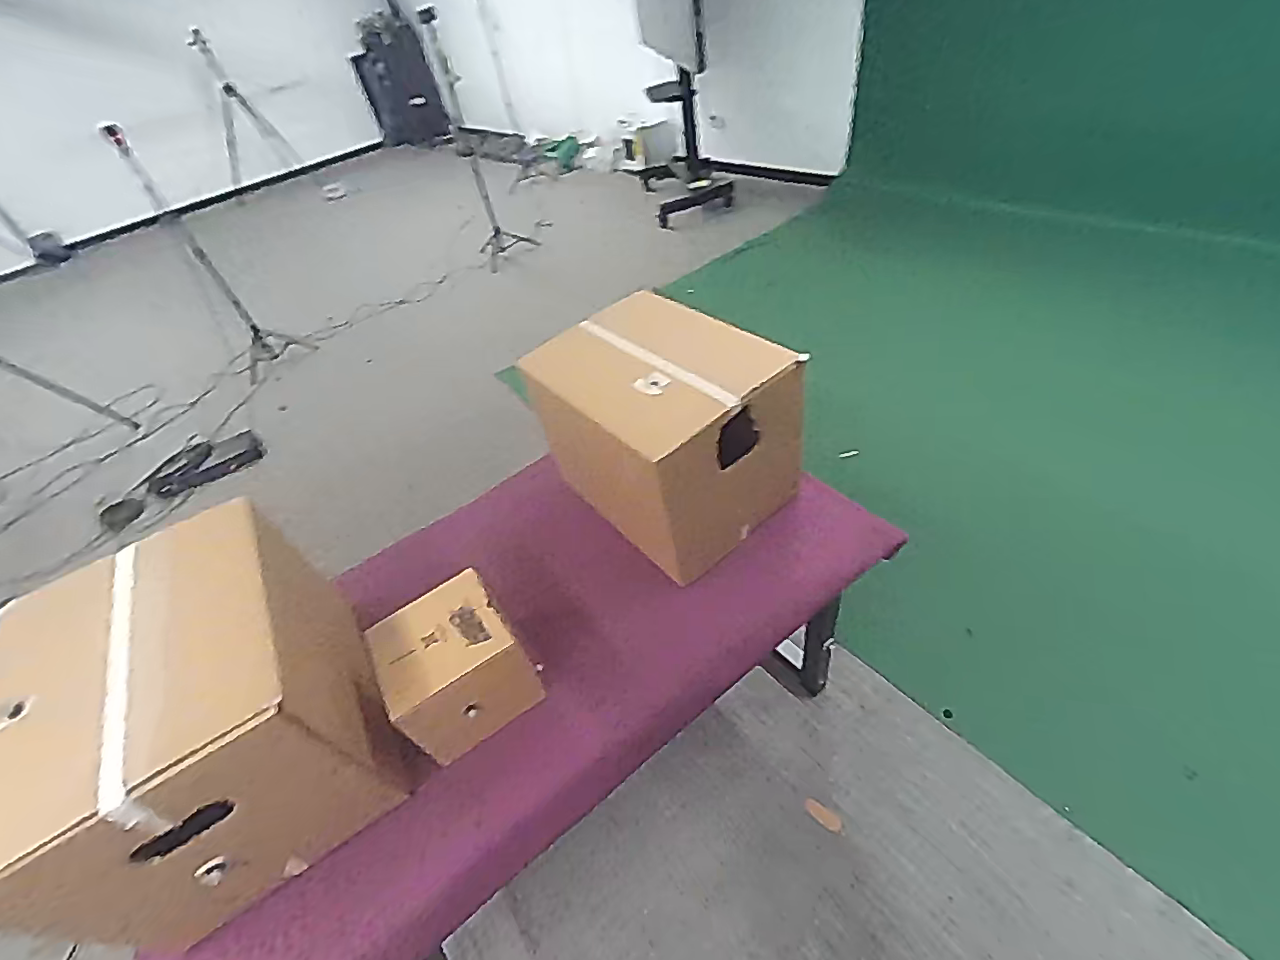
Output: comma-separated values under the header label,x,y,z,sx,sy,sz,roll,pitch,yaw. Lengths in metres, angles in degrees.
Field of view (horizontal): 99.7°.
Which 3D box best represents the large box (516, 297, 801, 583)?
label,x,y,z,sx,sy,sz,roll,pitch,yaw
large box,0.037,-0.090,1.014,0.320,0.320,0.408,-36,49,-20
